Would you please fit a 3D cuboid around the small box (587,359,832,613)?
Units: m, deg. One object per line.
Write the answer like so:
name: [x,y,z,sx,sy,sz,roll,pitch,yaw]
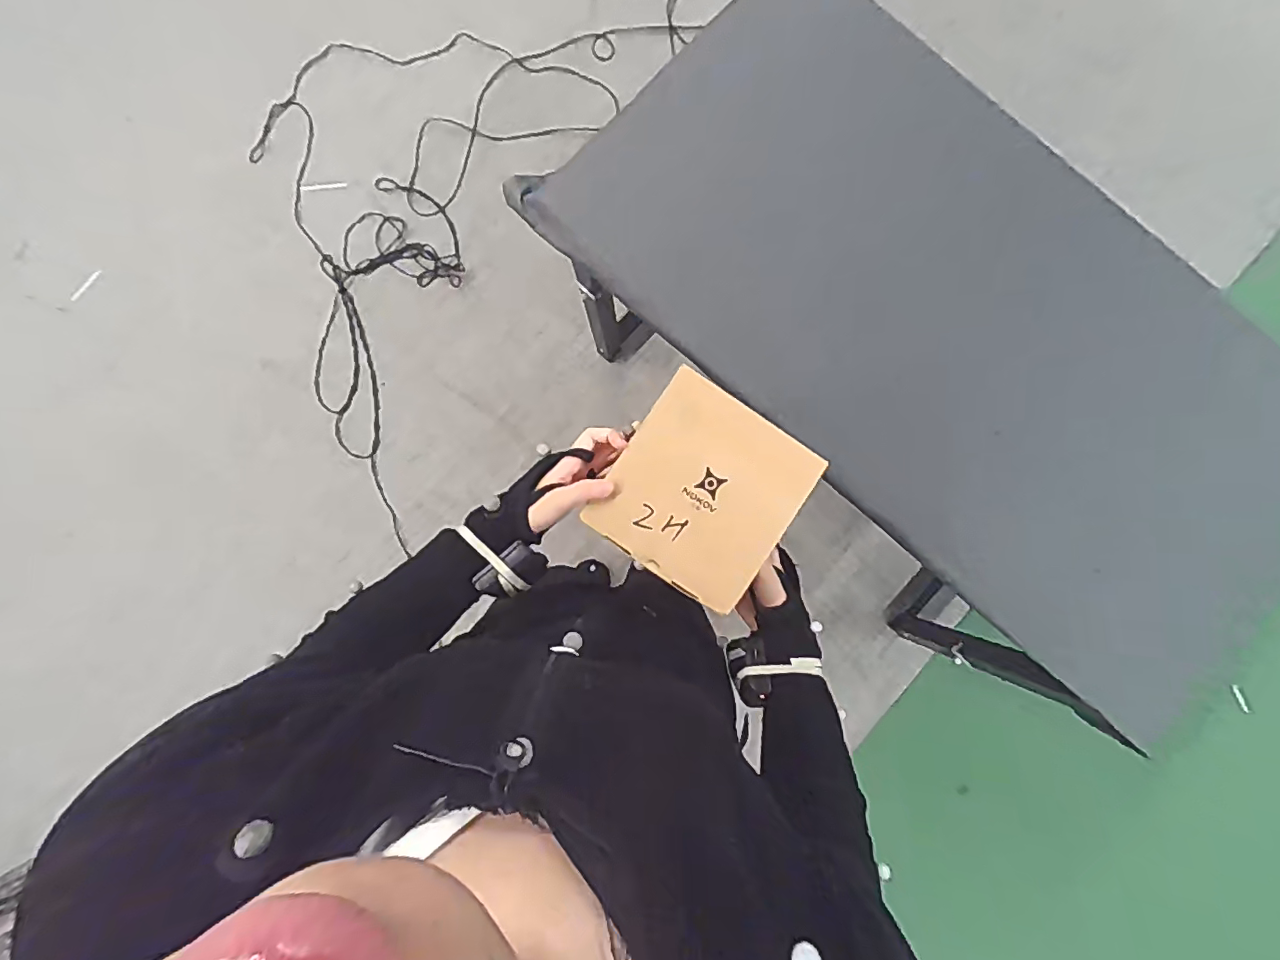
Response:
small box: [0.058,0.008,0.566,0.168,0.176,0.179,34,85,-2]
